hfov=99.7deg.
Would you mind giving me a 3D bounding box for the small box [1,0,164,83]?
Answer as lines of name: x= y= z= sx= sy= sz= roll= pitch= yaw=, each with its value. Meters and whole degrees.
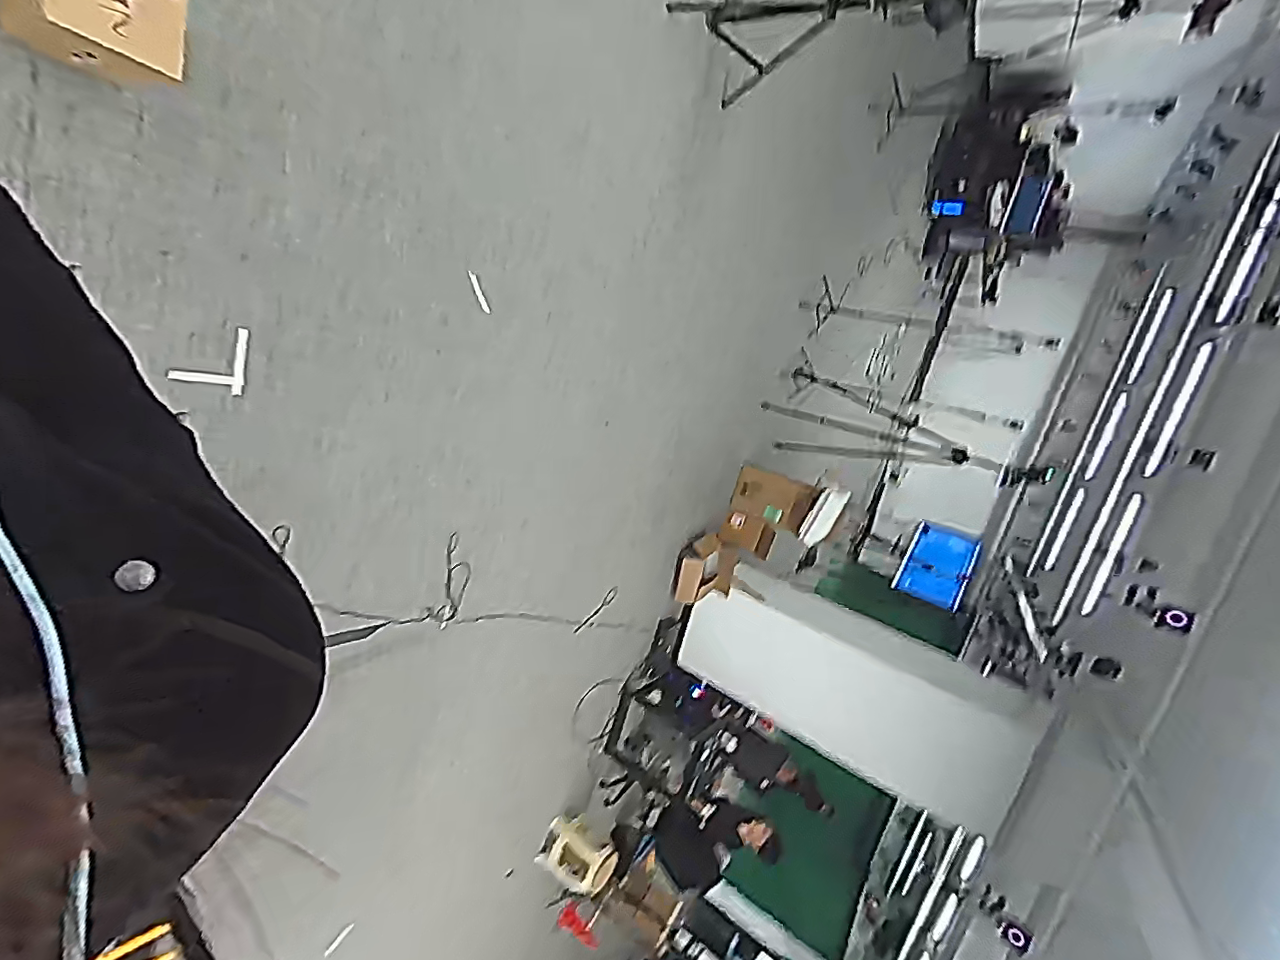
small box: x=-1.006 y=-0.849 z=0.976 sx=0.179 sy=0.176 sz=0.168 roll=-3 pitch=112 yaw=-58
